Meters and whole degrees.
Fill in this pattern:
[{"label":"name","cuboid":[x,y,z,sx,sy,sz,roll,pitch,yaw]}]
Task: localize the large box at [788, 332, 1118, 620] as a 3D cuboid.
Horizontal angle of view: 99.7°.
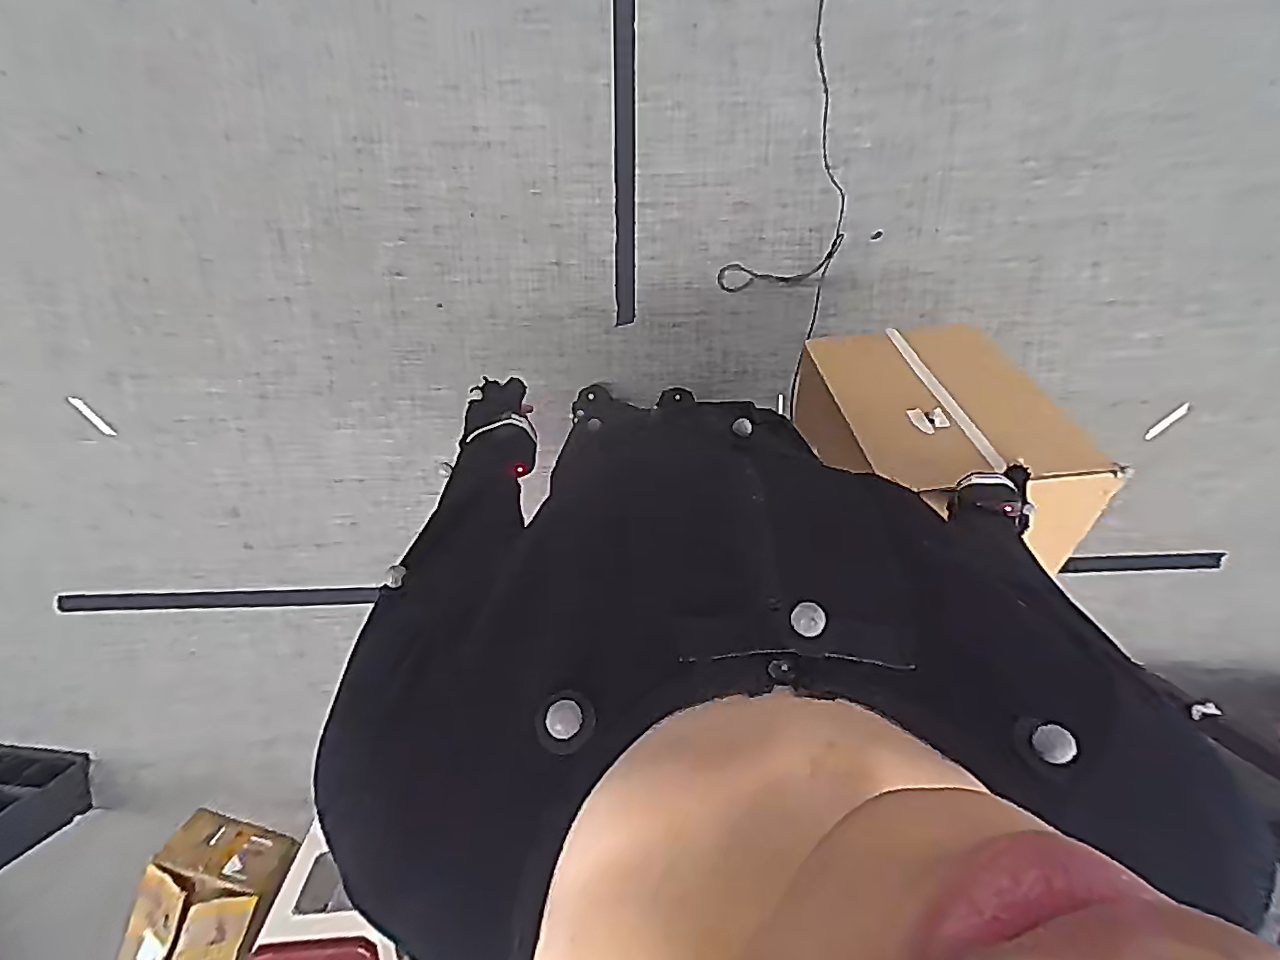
[{"label":"large box","cuboid":[0.483,-0.016,0.964,0.320,0.408,0.320,-7,135,1]}]
